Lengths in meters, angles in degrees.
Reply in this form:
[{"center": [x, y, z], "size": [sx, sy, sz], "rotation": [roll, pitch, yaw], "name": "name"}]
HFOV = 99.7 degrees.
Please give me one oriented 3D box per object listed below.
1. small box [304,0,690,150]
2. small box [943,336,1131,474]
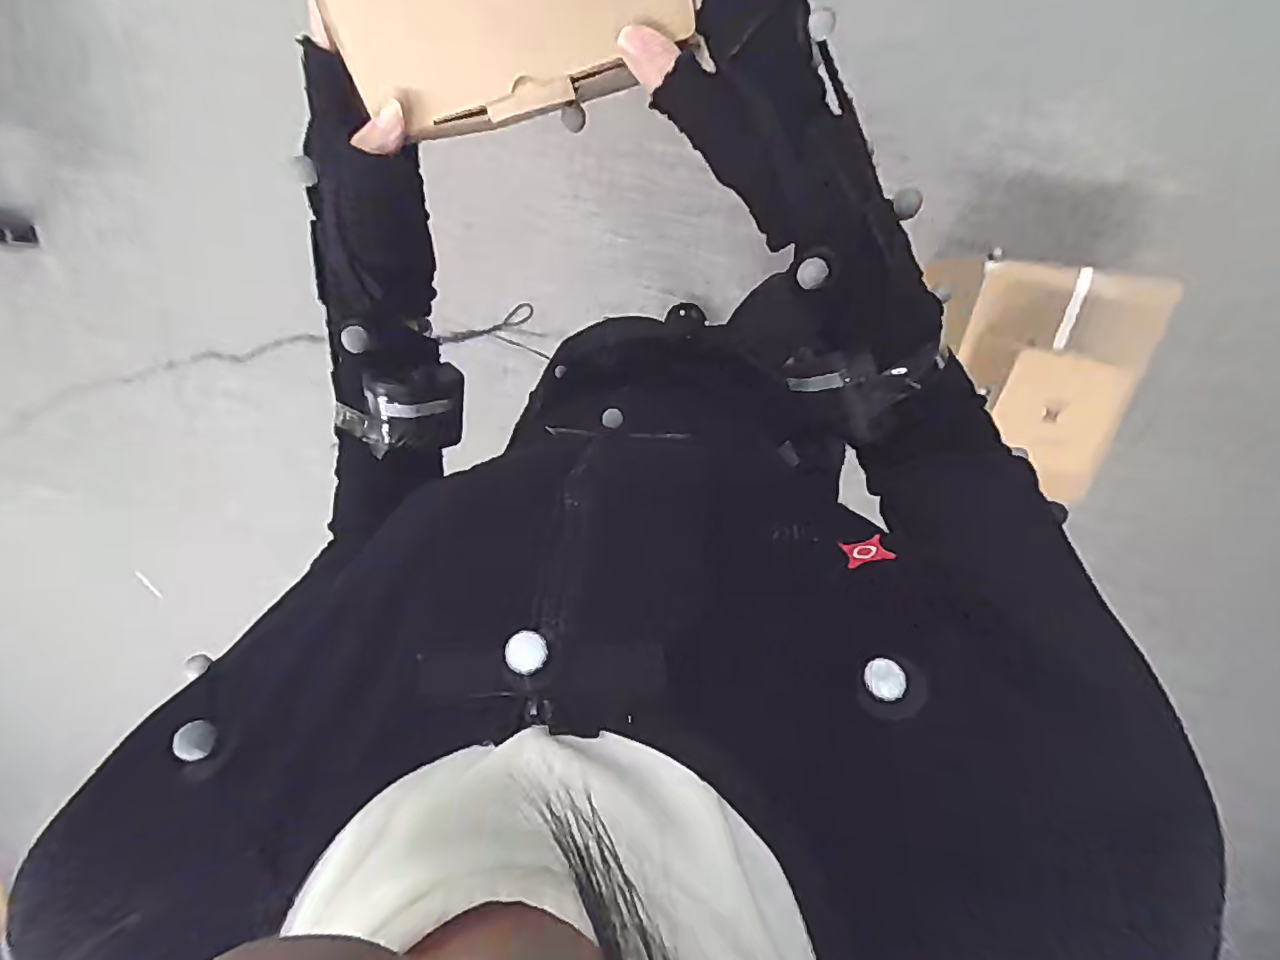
[{"center": [-0.072, -0.298, 0.277], "size": [0.168, 0.176, 0.179], "rotation": [-9, 124, 14], "name": "small box"}, {"center": [0.643, -0.134, 0.907], "size": [0.168, 0.176, 0.179], "rotation": [14, 114, 5], "name": "small box"}]
